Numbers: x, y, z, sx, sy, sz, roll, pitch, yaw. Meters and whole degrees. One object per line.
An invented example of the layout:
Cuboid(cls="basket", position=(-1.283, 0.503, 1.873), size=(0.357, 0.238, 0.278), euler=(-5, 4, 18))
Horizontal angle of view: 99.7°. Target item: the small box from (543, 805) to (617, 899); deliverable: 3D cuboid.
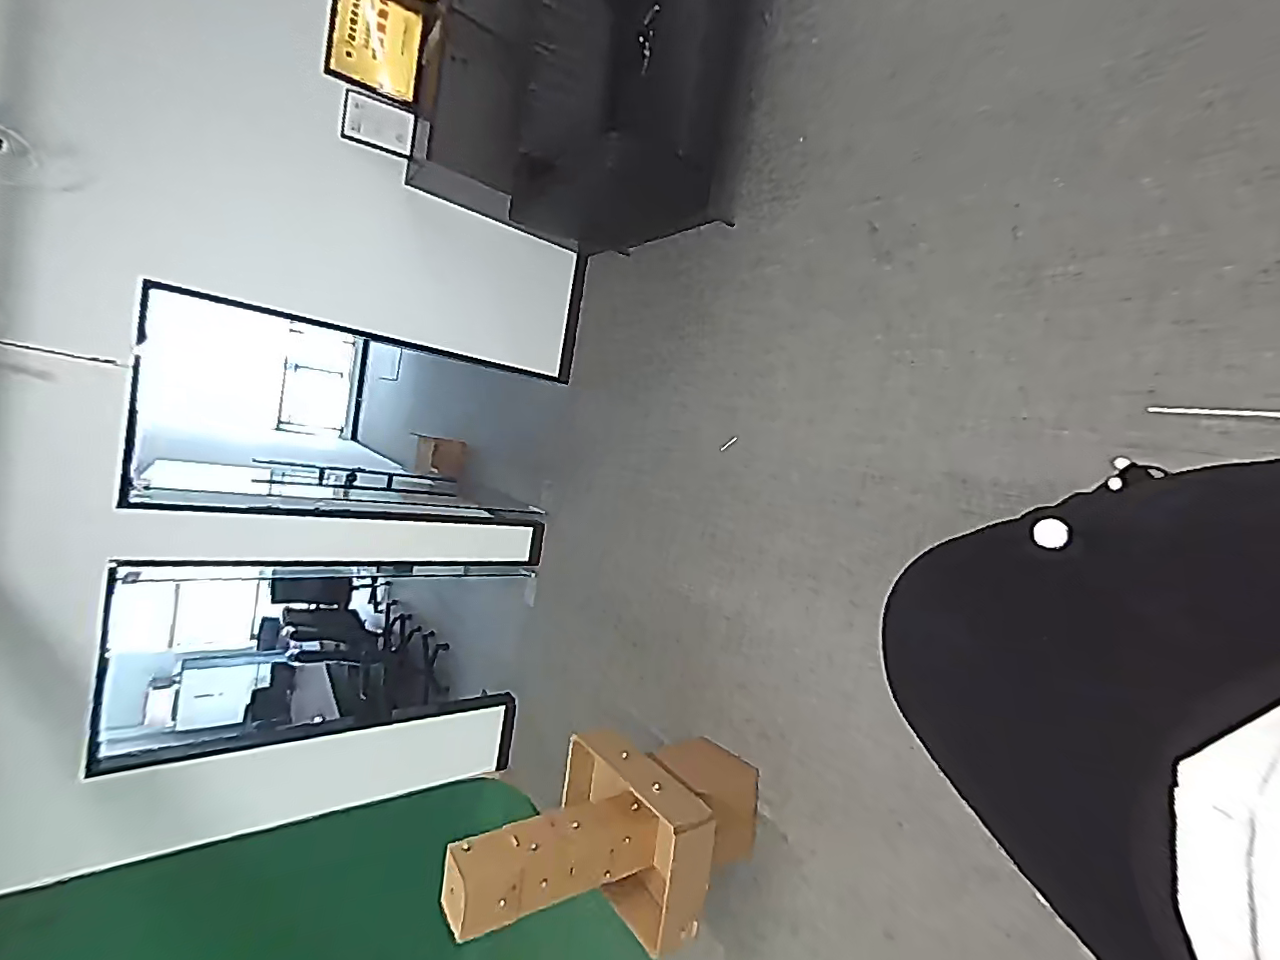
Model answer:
Cuboid(cls="small box", position=(-0.191, 1.189, 1.746), size=(0.179, 0.176, 0.168), euler=(9, 91, 55))

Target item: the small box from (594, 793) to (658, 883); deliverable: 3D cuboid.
Cuboid(cls="small box", position=(-0.056, 1.208, 1.839), size=(0.168, 0.176, 0.179), euler=(8, 90, 54))

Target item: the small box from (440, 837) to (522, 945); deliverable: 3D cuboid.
Cuboid(cls="small box", position=(-0.458, 1.166, 1.555), size=(0.179, 0.176, 0.168), euler=(7, 91, 54))
